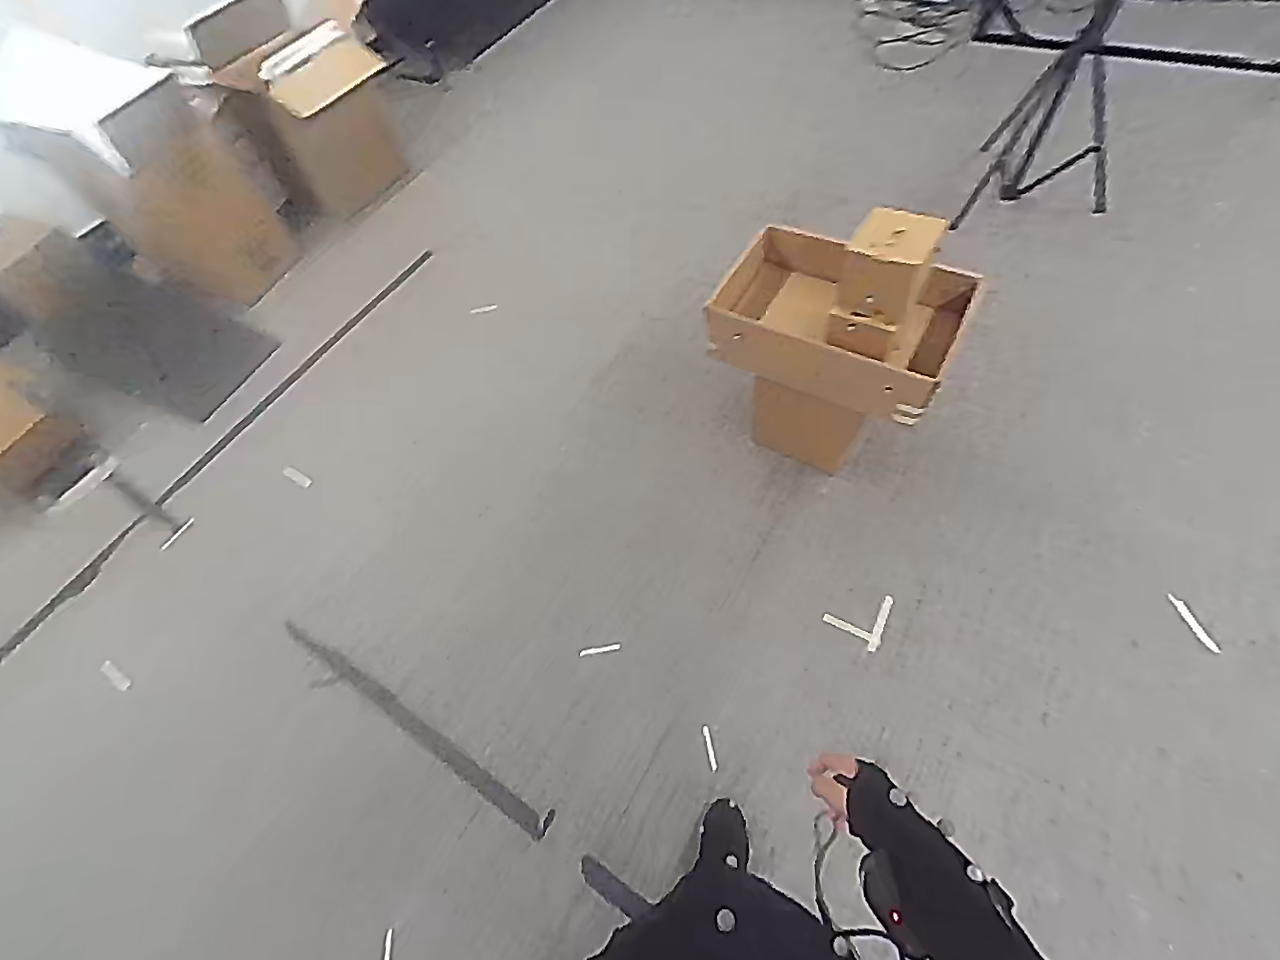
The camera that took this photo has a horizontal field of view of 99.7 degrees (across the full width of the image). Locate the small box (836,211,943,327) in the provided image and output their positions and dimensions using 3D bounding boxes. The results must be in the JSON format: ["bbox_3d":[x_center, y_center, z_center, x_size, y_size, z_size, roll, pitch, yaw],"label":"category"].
[{"bbox_3d":[0.586,-0.502,1.290,0.168,0.176,0.179,26,67,24],"label":"small box"}]
